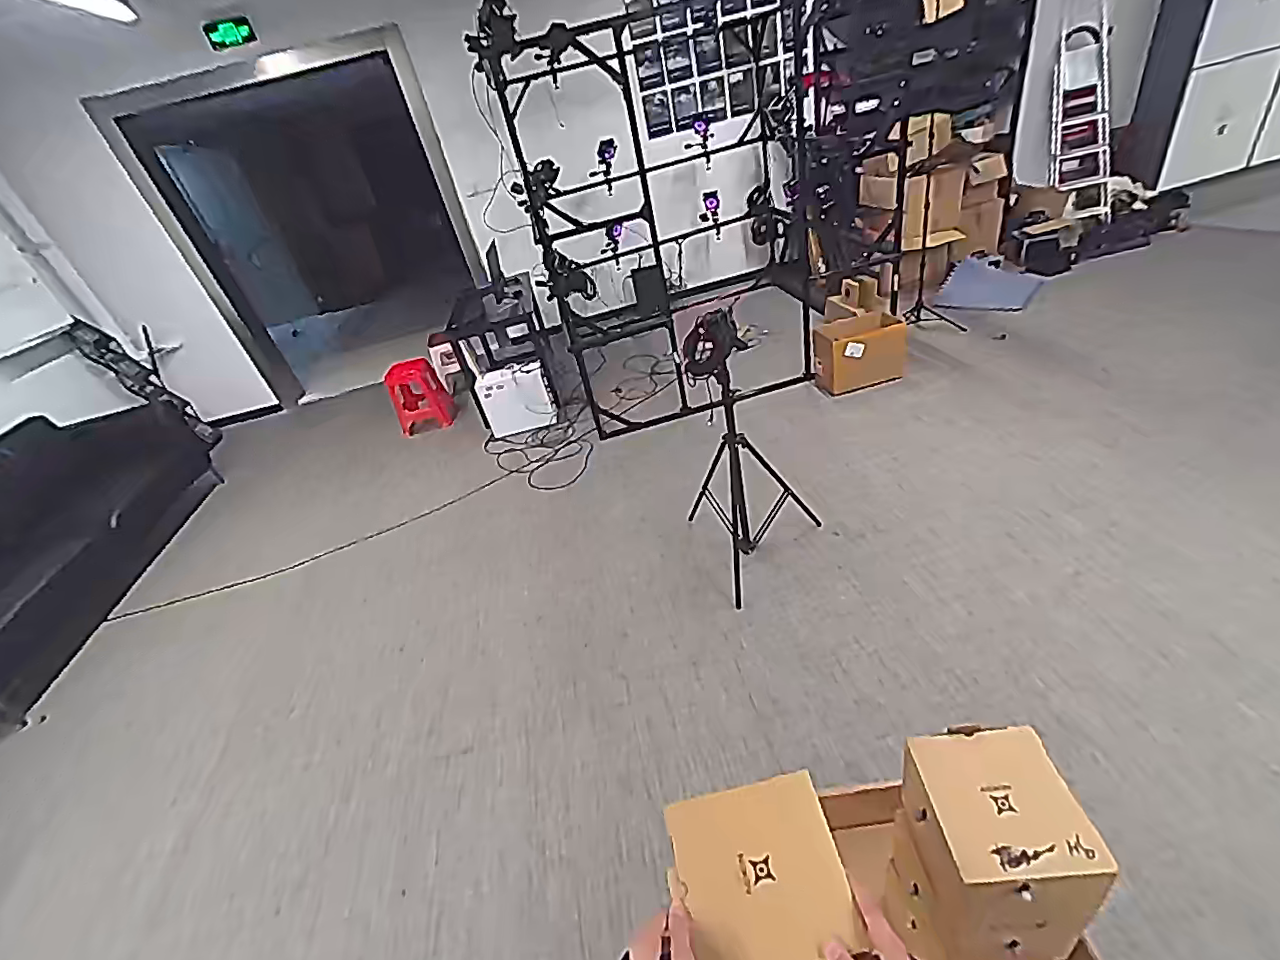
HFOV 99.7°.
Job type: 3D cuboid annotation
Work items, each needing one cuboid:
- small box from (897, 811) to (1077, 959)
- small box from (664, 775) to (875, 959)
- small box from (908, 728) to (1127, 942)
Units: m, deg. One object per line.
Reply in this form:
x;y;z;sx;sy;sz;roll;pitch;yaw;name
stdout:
0.496;0.590;0.783;0.179;0.176;0.168;-14;33;3;small box
0.141;0.467;0.613;0.179;0.176;0.168;-18;42;3;small box
0.461;0.454;0.697;0.168;0.176;0.179;-11;32;9;small box
